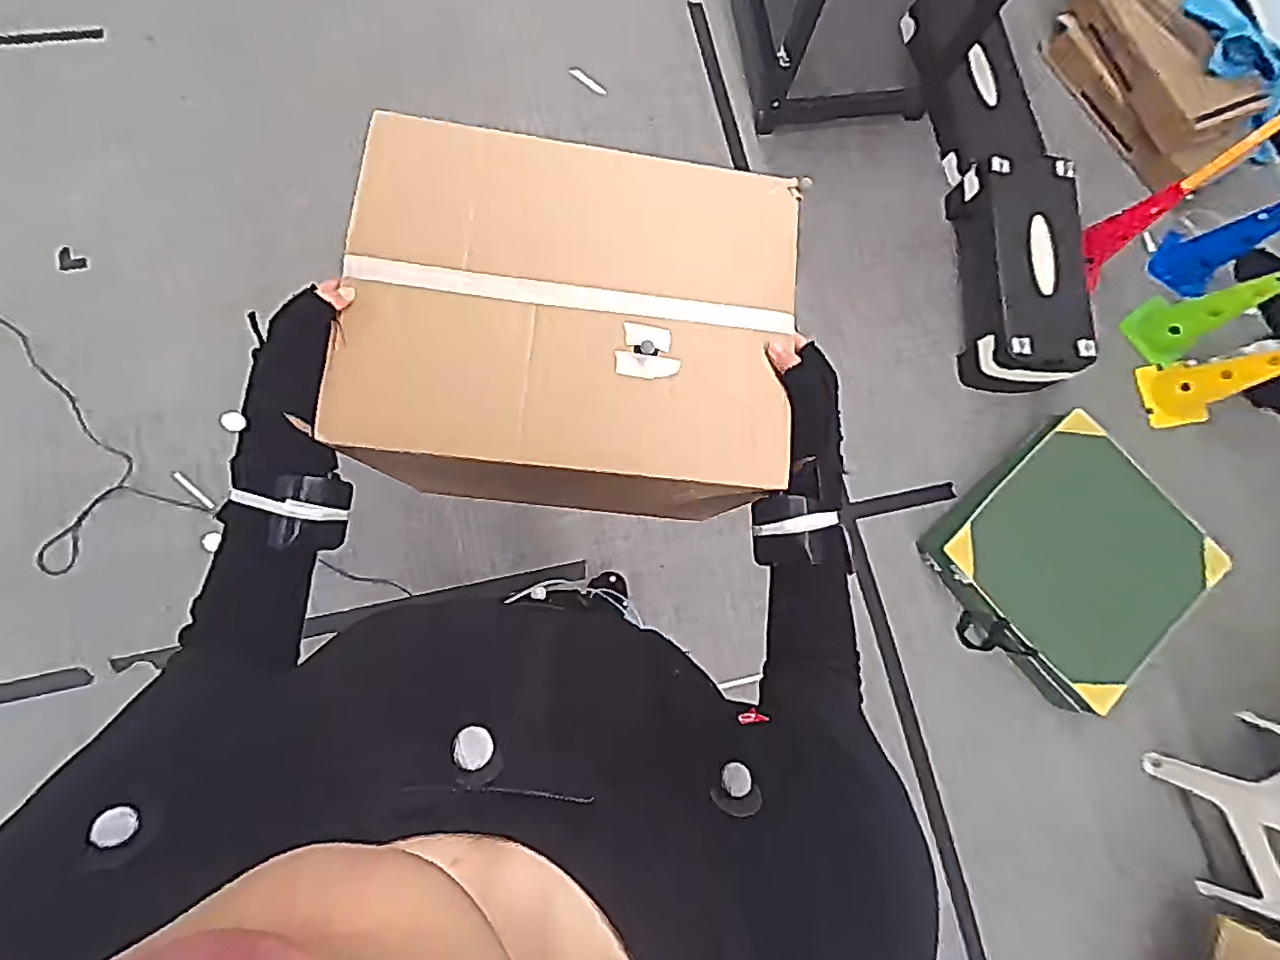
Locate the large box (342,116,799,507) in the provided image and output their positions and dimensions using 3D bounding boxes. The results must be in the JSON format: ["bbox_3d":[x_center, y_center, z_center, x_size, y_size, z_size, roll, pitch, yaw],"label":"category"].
[{"bbox_3d":[-0.067,-0.150,0.647,0.408,0.320,0.320,6,81,-7],"label":"large box"}]
